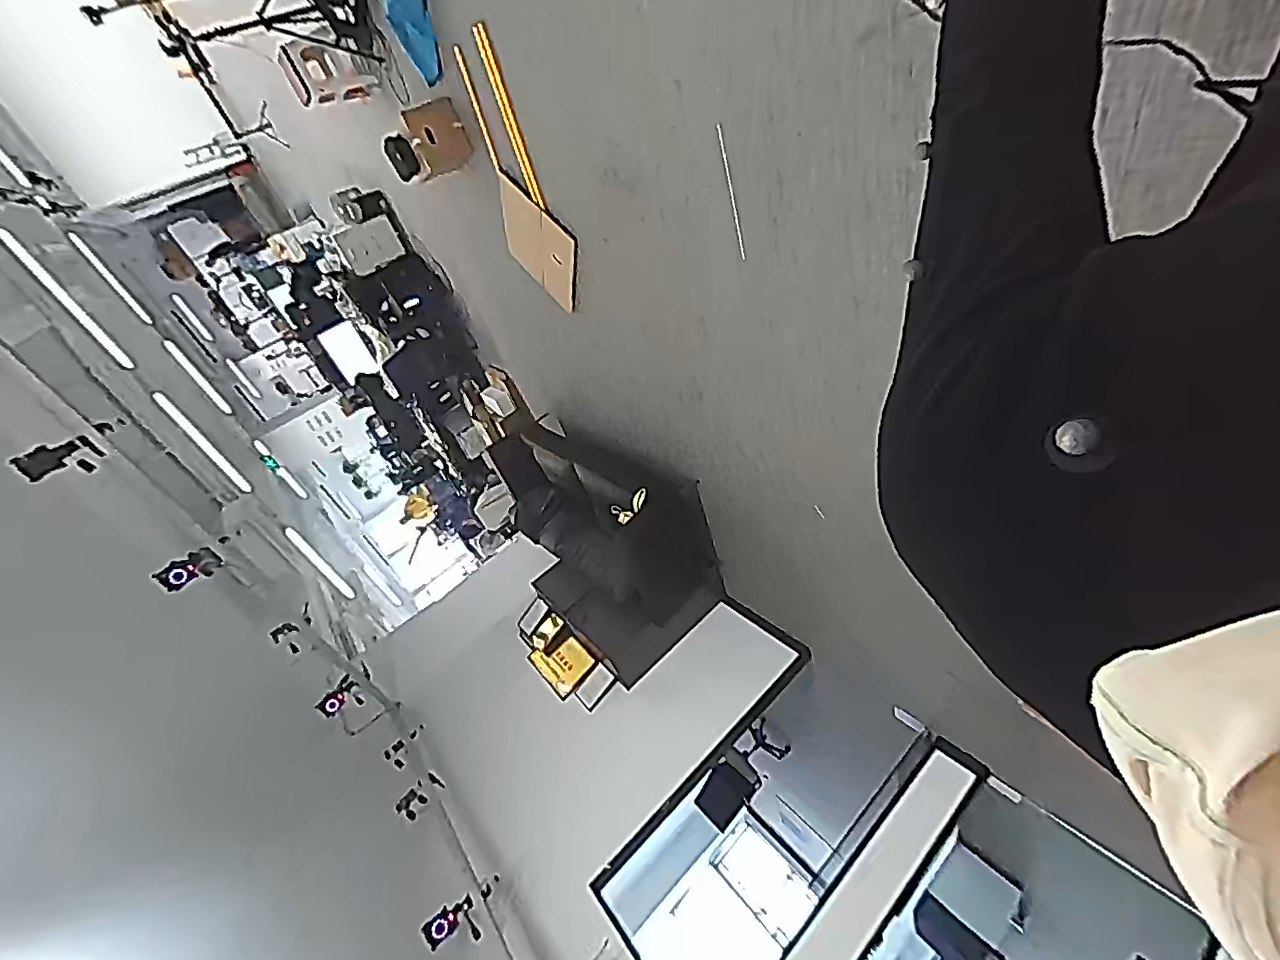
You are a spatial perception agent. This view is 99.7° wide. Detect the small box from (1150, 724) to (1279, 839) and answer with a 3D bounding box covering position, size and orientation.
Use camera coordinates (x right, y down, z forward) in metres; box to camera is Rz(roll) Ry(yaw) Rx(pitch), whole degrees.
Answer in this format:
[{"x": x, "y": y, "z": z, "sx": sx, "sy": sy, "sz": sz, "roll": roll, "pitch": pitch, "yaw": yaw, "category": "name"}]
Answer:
[{"x": 1.497, "y": 0.779, "z": 1.406, "sx": 0.179, "sy": 0.176, "sz": 0.168, "roll": 32, "pitch": 151, "yaw": 39, "category": "small box"}]
